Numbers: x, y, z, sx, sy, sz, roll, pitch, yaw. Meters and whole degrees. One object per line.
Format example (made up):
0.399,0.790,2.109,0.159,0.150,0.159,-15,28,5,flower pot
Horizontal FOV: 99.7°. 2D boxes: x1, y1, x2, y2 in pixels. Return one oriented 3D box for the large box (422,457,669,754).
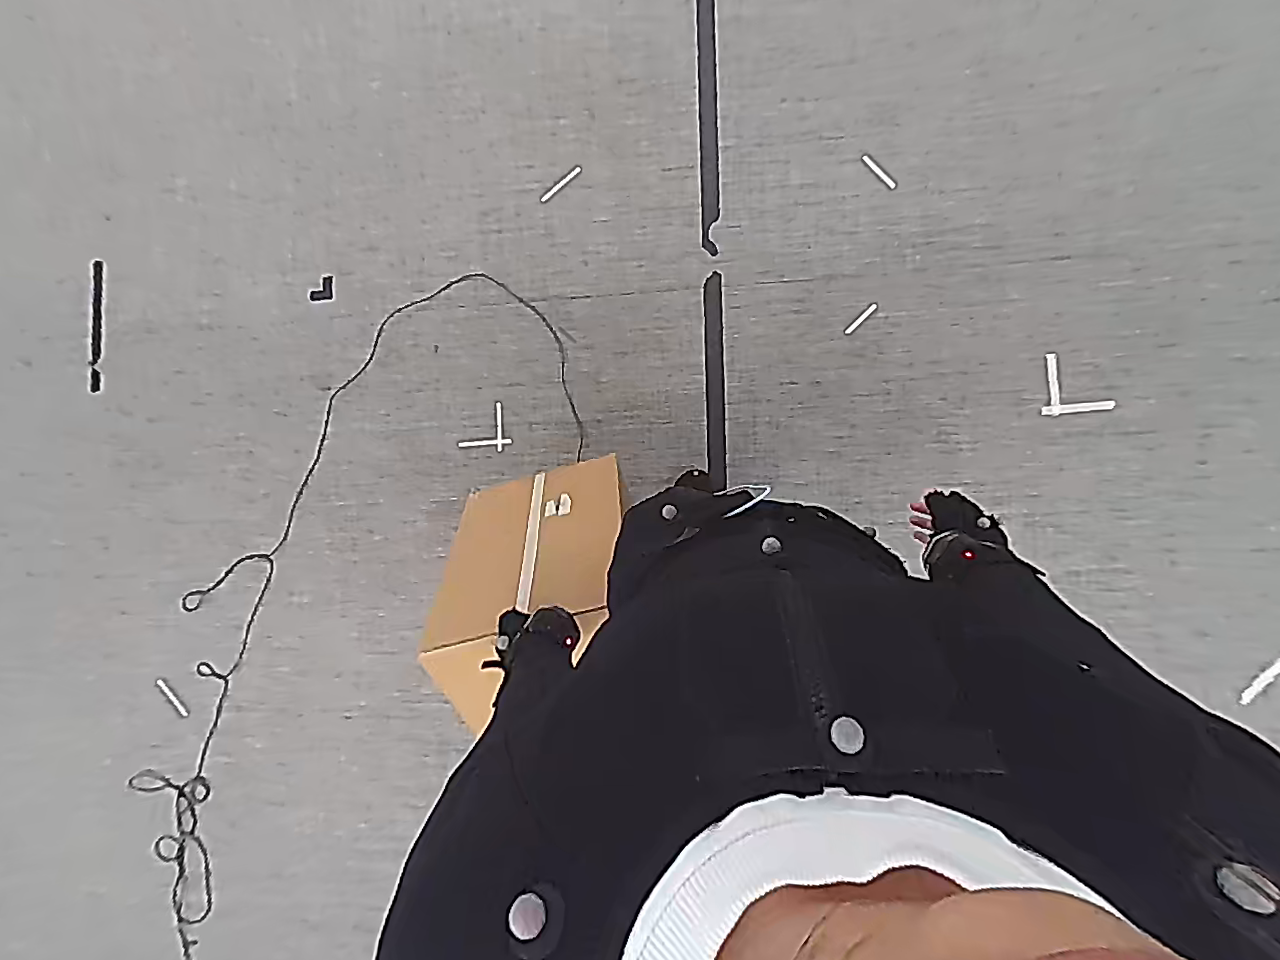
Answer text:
-0.147,0.218,1.012,0.320,0.408,0.320,-14,122,5,large box
